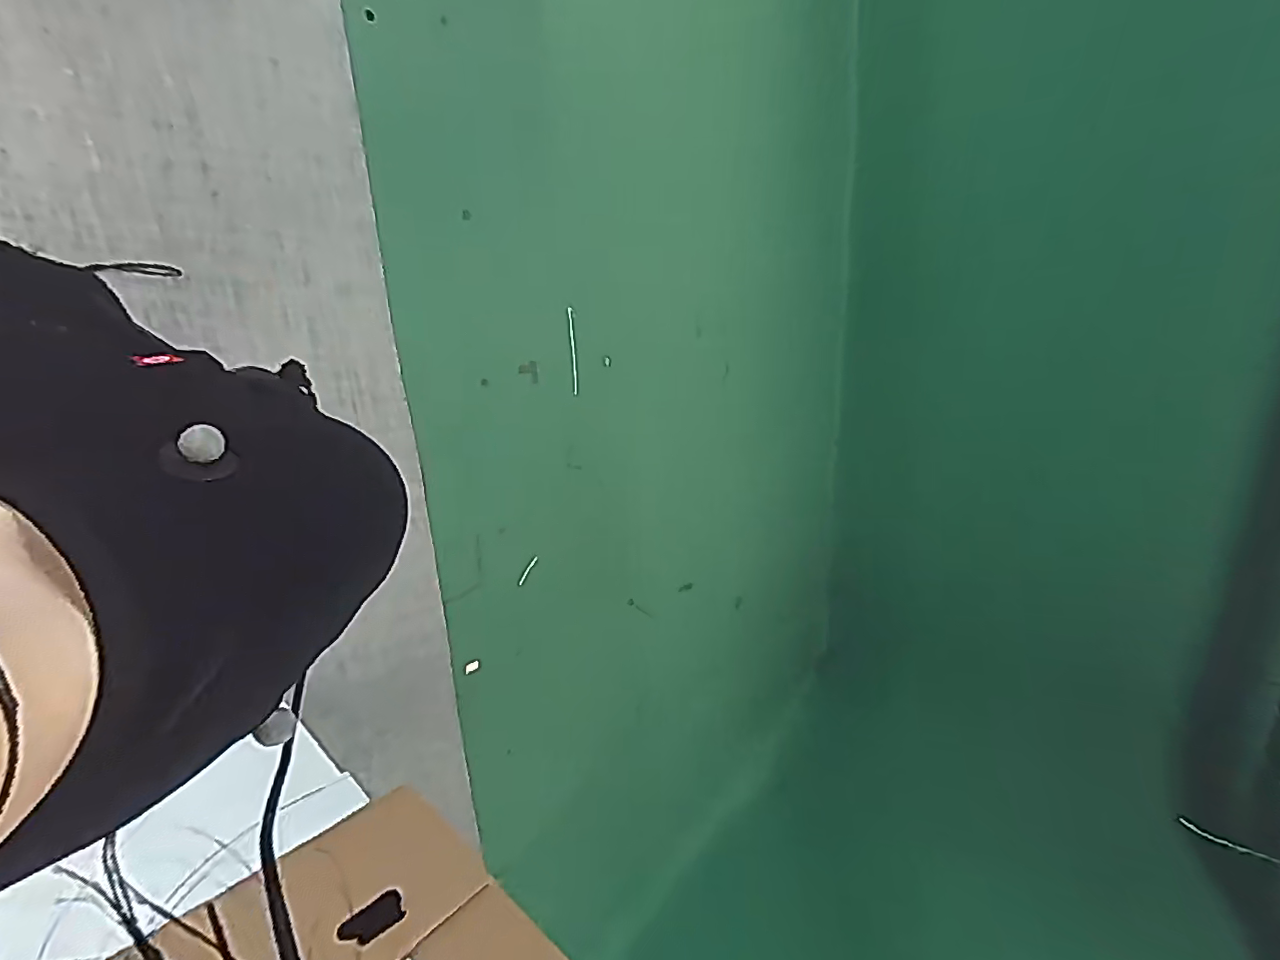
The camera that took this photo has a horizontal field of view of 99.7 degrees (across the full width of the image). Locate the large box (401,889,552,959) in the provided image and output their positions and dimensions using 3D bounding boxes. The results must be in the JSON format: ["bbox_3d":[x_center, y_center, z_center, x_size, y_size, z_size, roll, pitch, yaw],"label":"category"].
[{"bbox_3d":[-0.220,0.875,0.697,0.320,0.320,0.408,-19,113,-47],"label":"large box"}]
